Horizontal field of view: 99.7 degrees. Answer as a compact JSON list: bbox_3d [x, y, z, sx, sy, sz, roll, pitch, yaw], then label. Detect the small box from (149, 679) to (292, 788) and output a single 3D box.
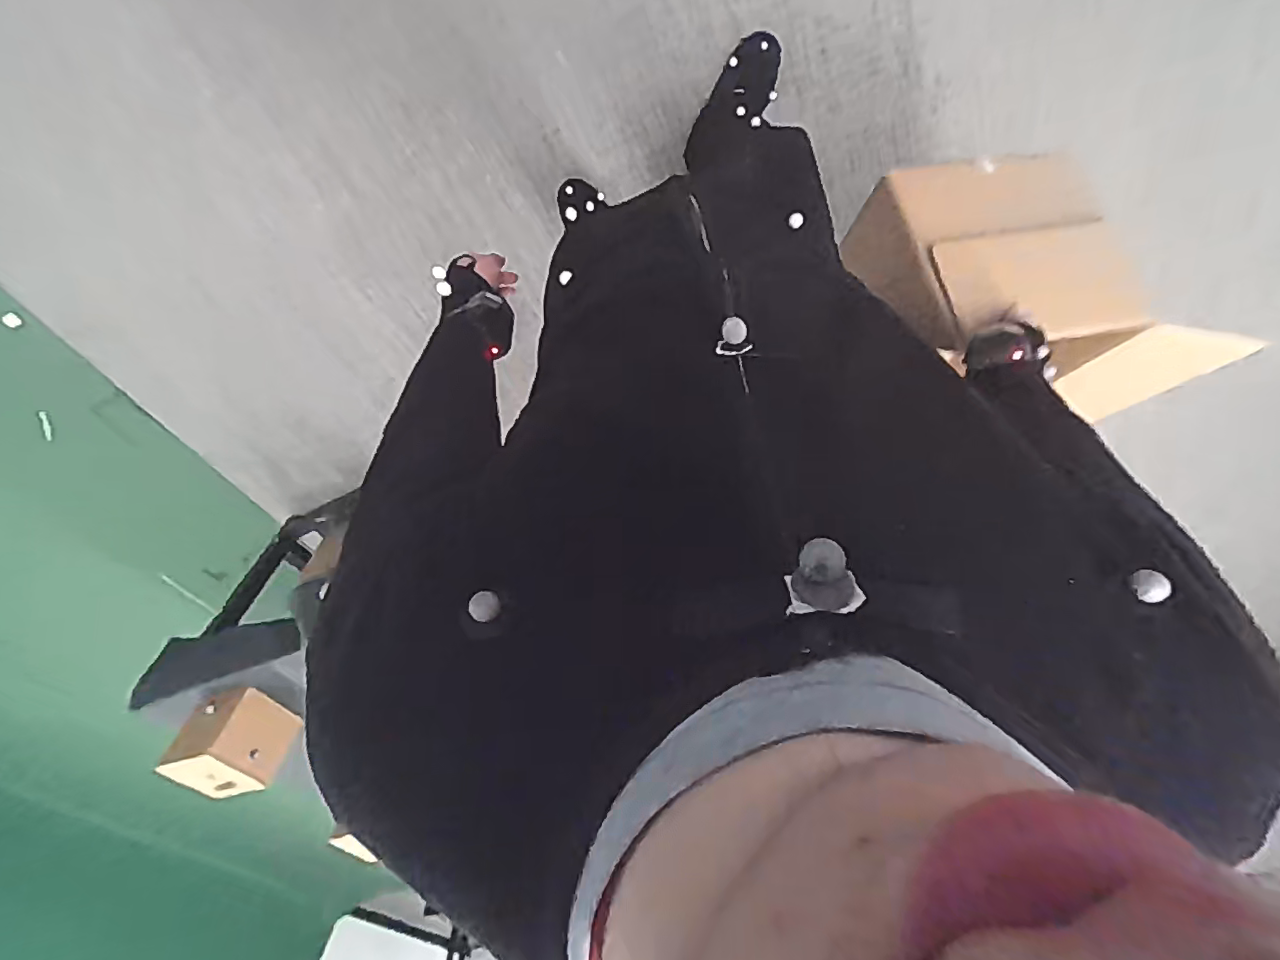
[{"bbox_3d":[-0.987,0.606,1.294,0.168,0.176,0.179,-17,126,13],"label":"small box"}]
